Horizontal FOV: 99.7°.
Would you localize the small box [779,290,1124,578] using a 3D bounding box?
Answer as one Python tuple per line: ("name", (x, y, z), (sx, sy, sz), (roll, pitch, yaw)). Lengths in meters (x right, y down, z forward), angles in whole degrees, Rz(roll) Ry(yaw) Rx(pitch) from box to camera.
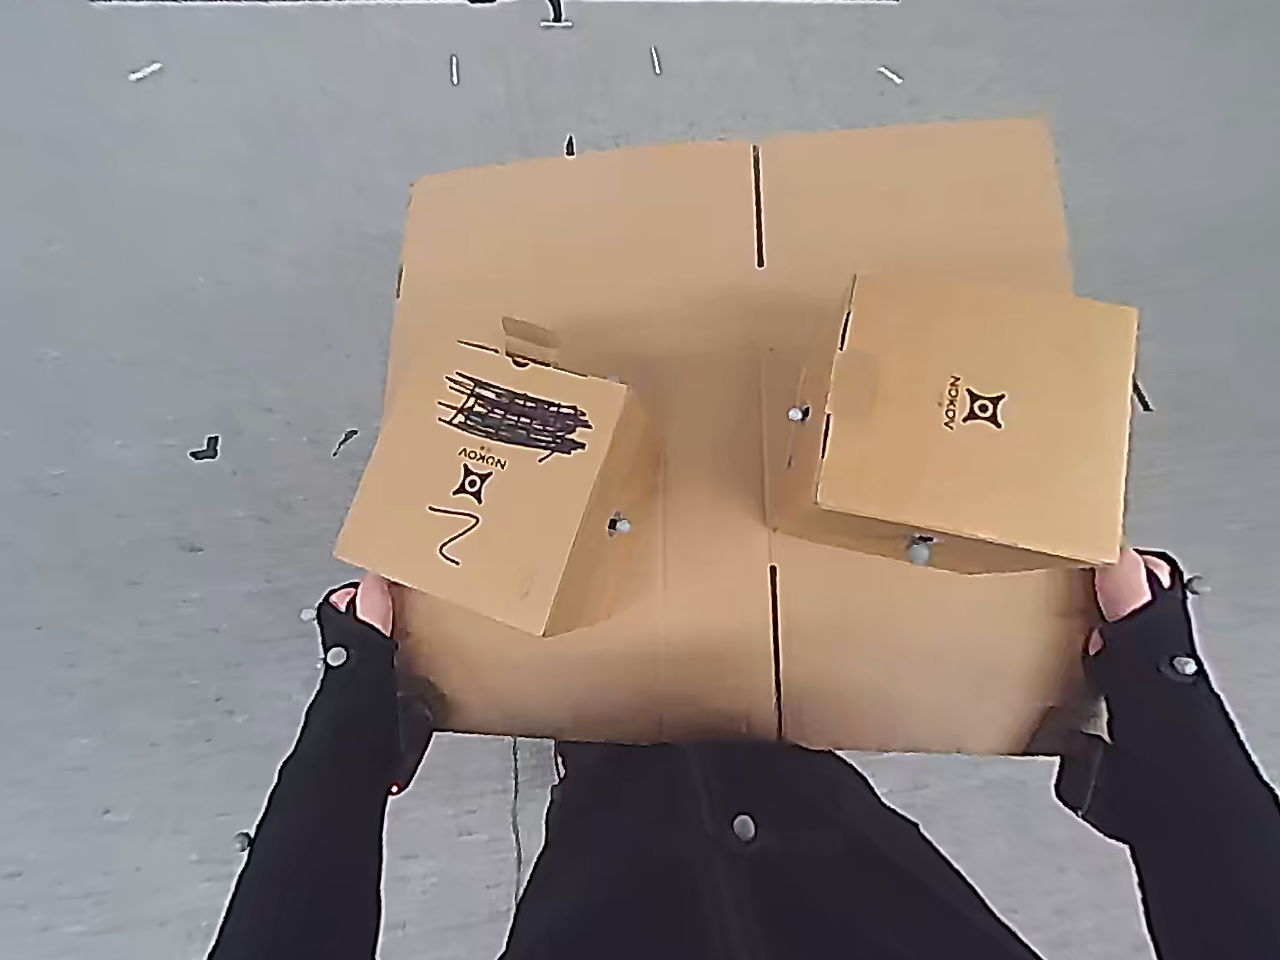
("small box", (0.222, -0.022, 0.429), (0.179, 0.176, 0.168), (12, 80, 9))
